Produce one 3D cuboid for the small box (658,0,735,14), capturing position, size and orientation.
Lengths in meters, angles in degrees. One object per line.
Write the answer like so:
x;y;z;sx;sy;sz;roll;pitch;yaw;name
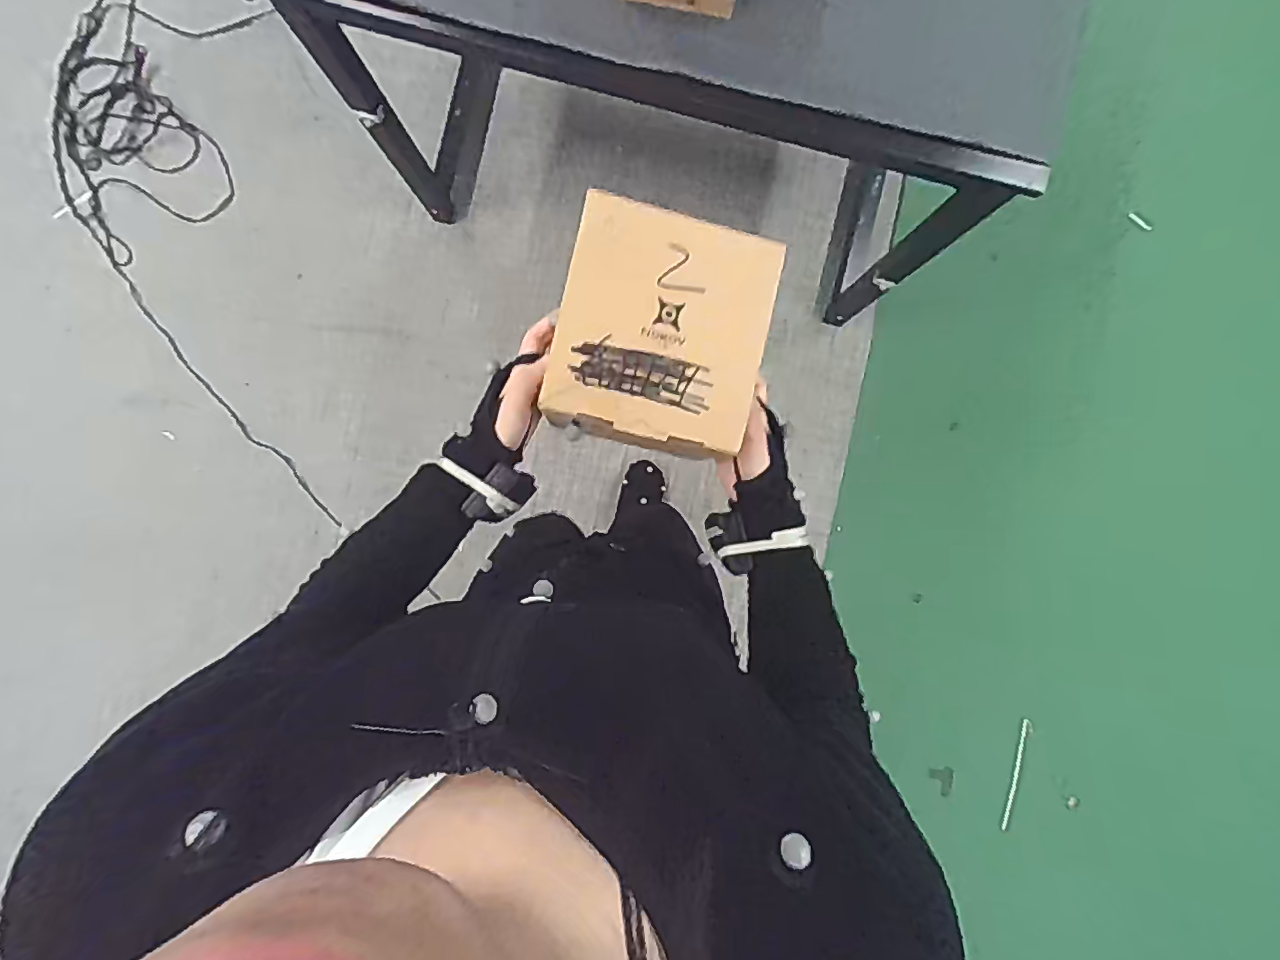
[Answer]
0.068;-0.760;0.687;0.168;0.176;0.179;10;88;-1;small box
